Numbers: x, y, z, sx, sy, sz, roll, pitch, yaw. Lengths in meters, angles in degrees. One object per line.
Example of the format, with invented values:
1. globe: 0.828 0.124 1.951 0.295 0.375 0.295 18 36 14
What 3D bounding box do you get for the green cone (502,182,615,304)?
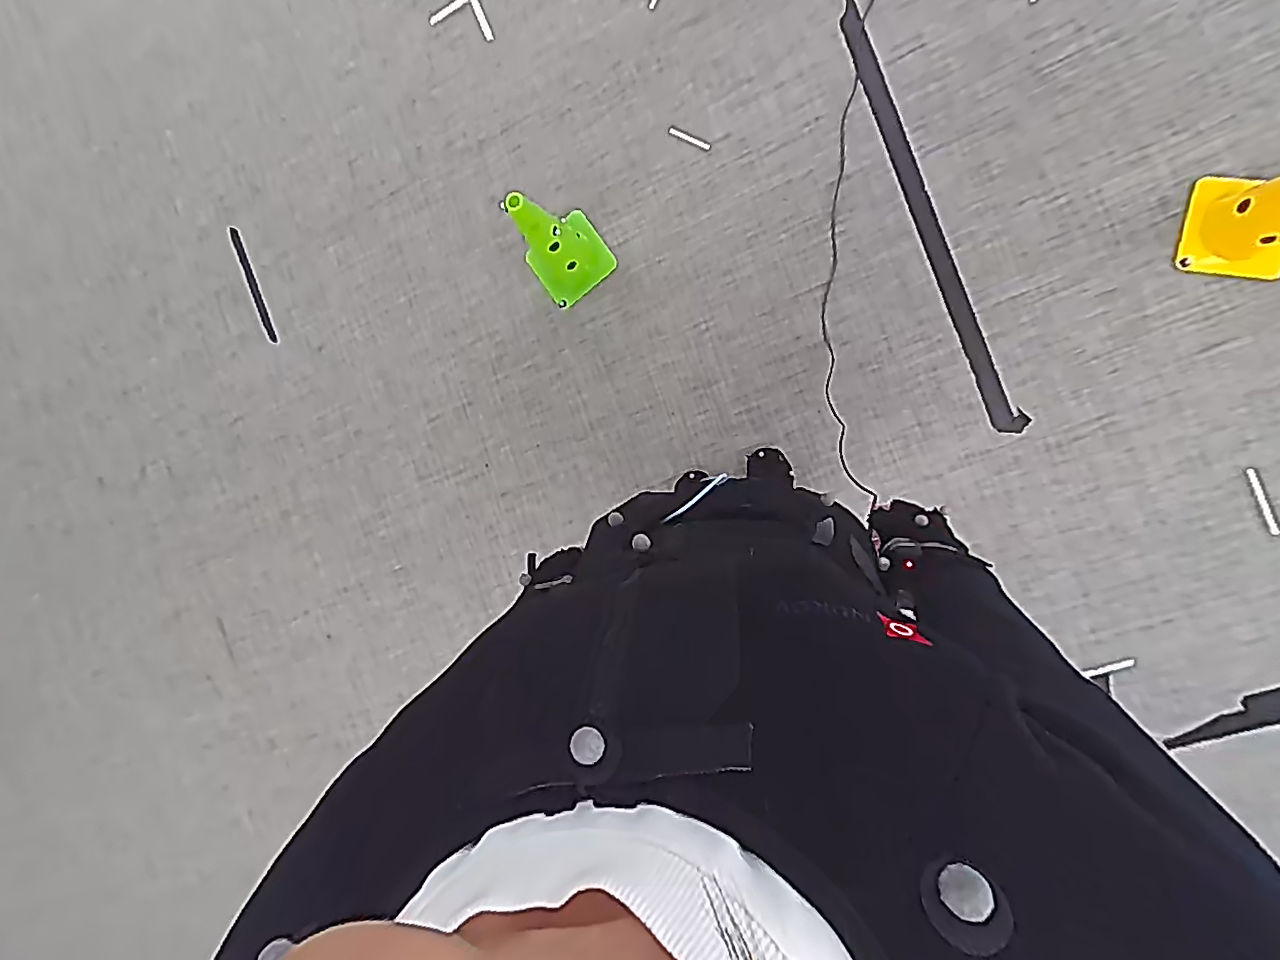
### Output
1. green cone: -0.226 -0.604 1.299 0.200 0.368 0.202 -37 84 11
